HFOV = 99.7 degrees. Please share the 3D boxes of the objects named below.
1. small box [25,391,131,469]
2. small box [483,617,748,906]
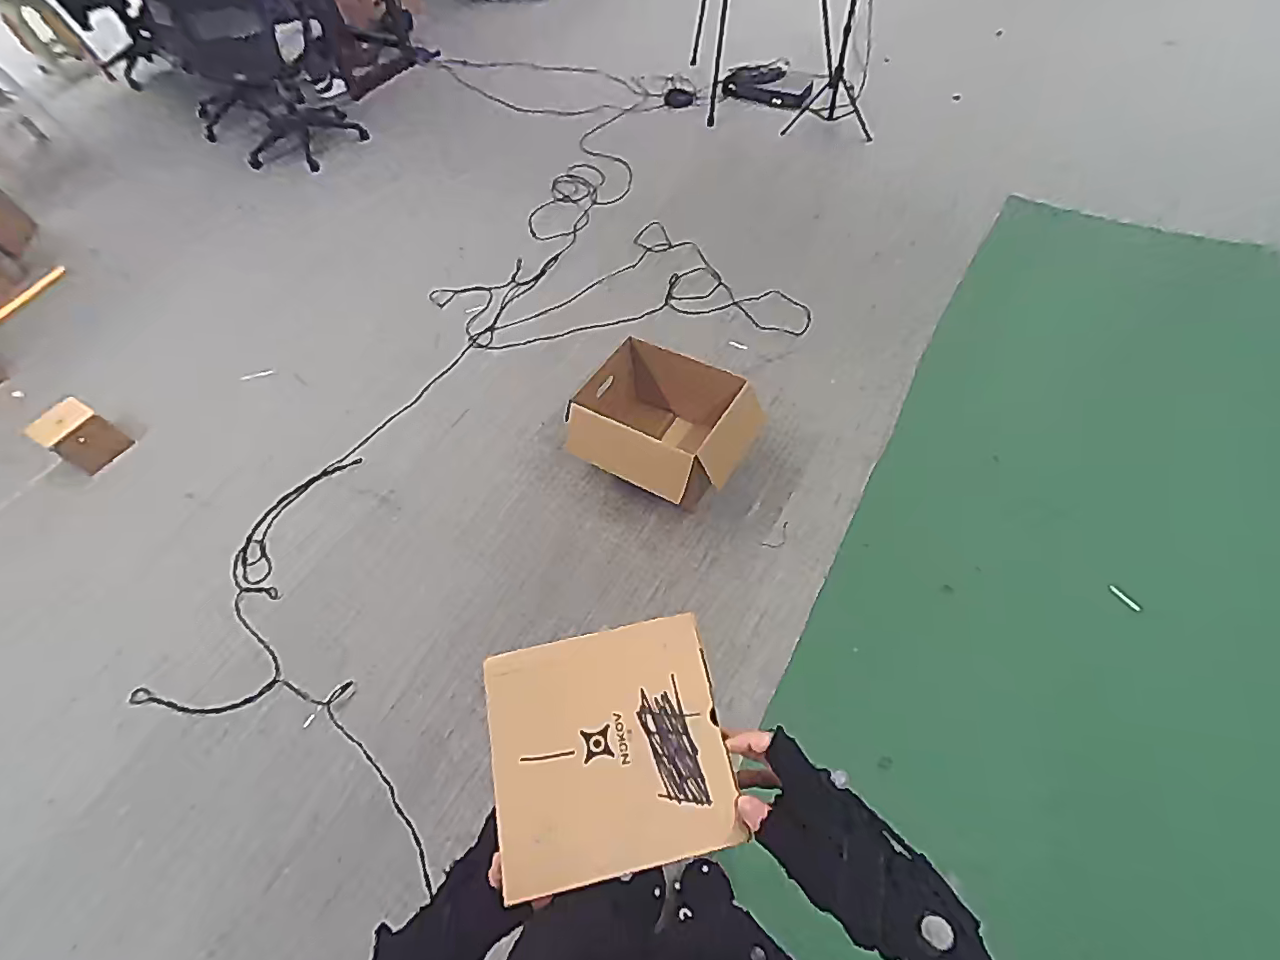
[{"bbox_3d":[-1.955,-0.173,1.897,0.168,0.176,0.179,25,63,18],"label":"small box"},{"bbox_3d":[-0.026,0.231,0.471,0.179,0.176,0.168,-10,64,-6],"label":"small box"}]
